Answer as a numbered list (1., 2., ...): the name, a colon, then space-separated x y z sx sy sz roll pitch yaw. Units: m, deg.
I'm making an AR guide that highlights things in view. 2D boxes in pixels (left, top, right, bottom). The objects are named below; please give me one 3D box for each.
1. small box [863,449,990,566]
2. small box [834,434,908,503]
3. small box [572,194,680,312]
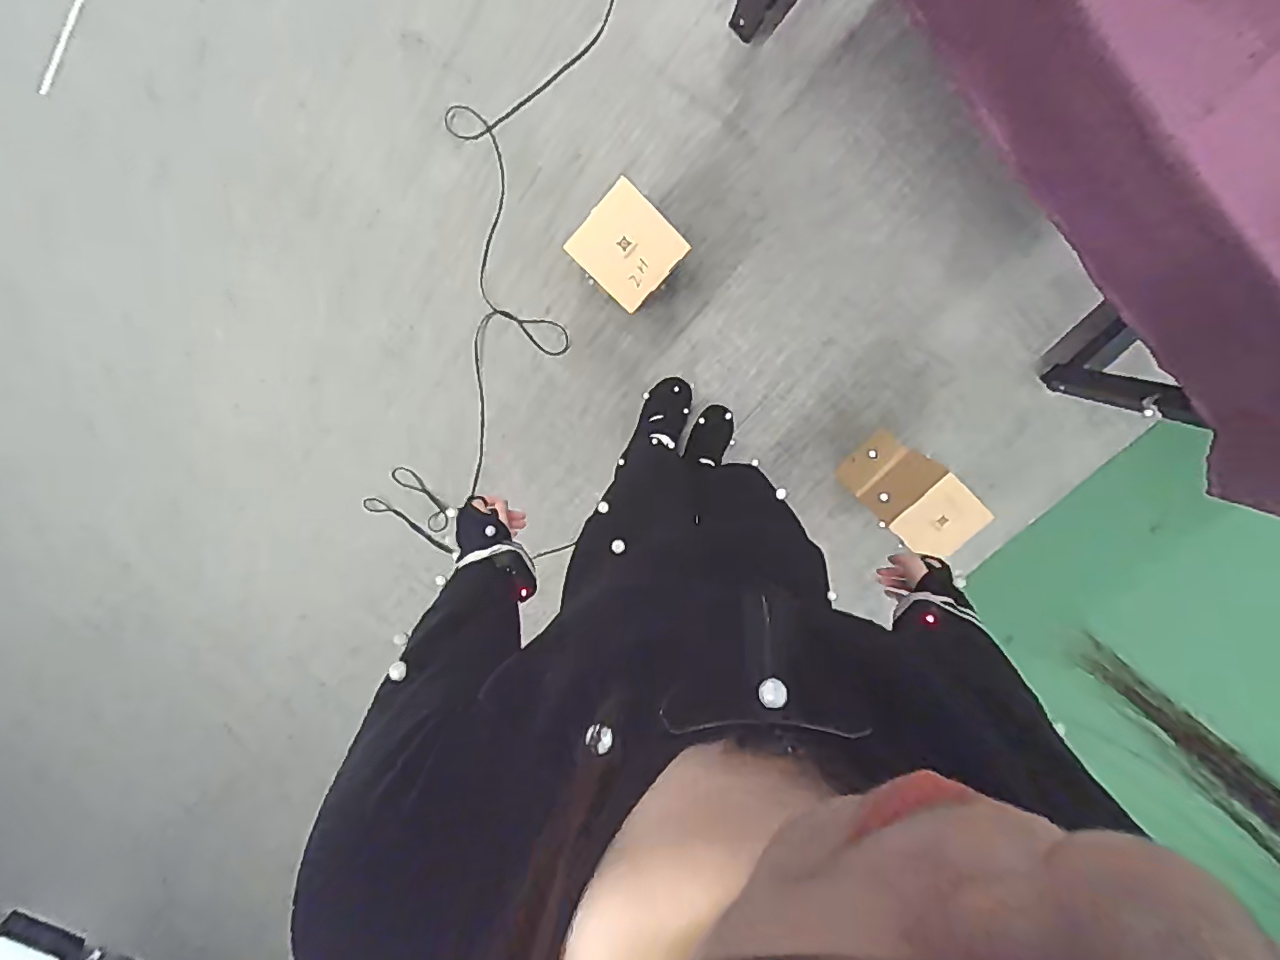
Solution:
1. small box: 0.650 0.059 1.258 0.168 0.176 0.179 40 105 -15
2. small box: 0.641 -0.002 1.409 0.179 0.176 0.168 37 106 -13
3. small box: -0.029 -0.504 1.224 0.168 0.176 0.179 41 104 -14
